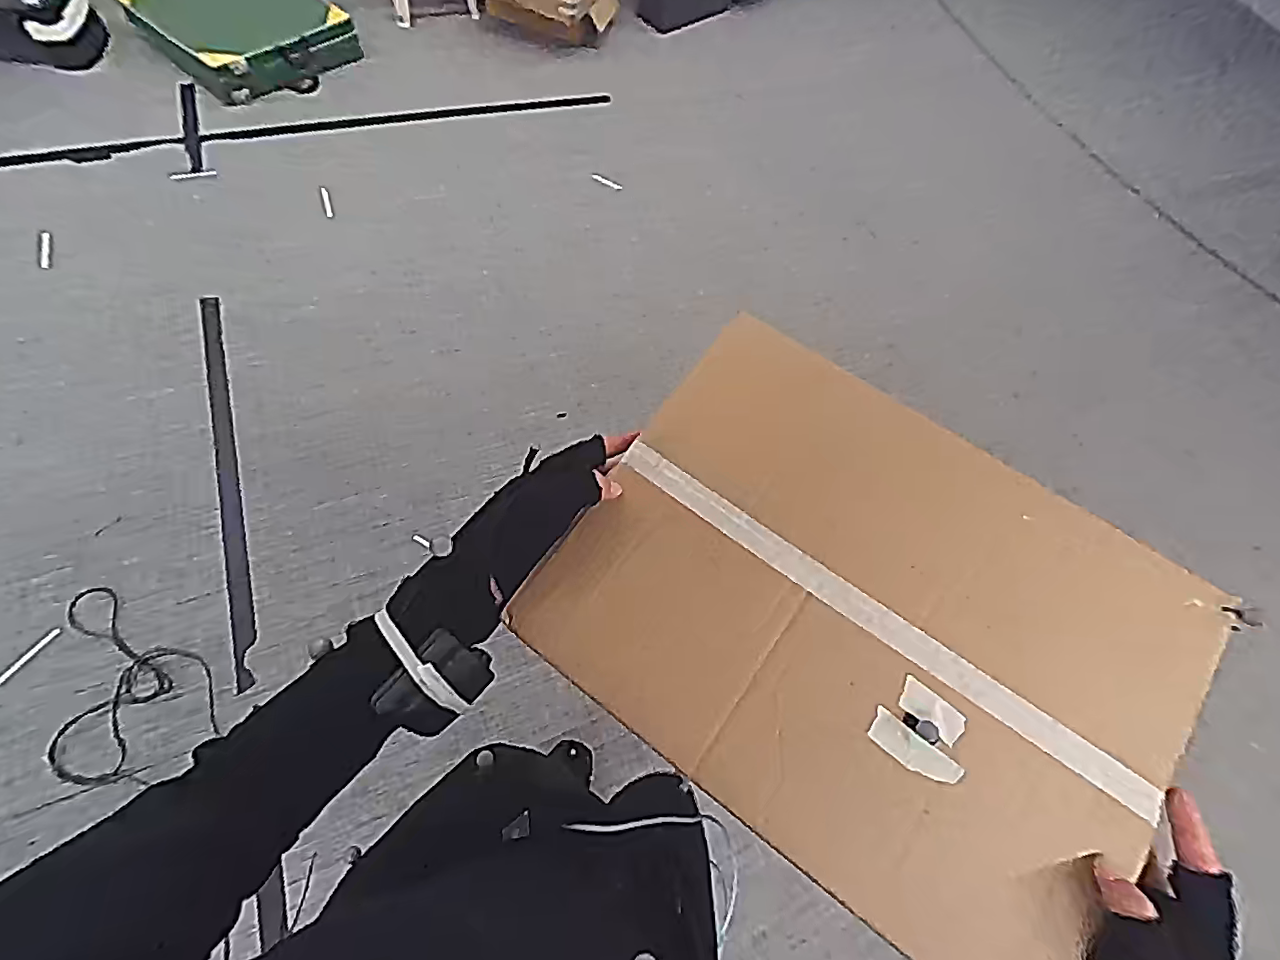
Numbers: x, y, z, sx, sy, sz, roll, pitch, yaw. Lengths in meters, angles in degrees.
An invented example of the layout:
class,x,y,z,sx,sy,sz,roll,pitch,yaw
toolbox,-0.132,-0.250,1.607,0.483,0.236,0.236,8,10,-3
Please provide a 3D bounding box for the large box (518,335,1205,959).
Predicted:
class,x,y,z,sx,sy,sz,roll,pitch,yaw
large box,0.159,0.142,0.530,0.408,0.320,0.320,35,77,12
